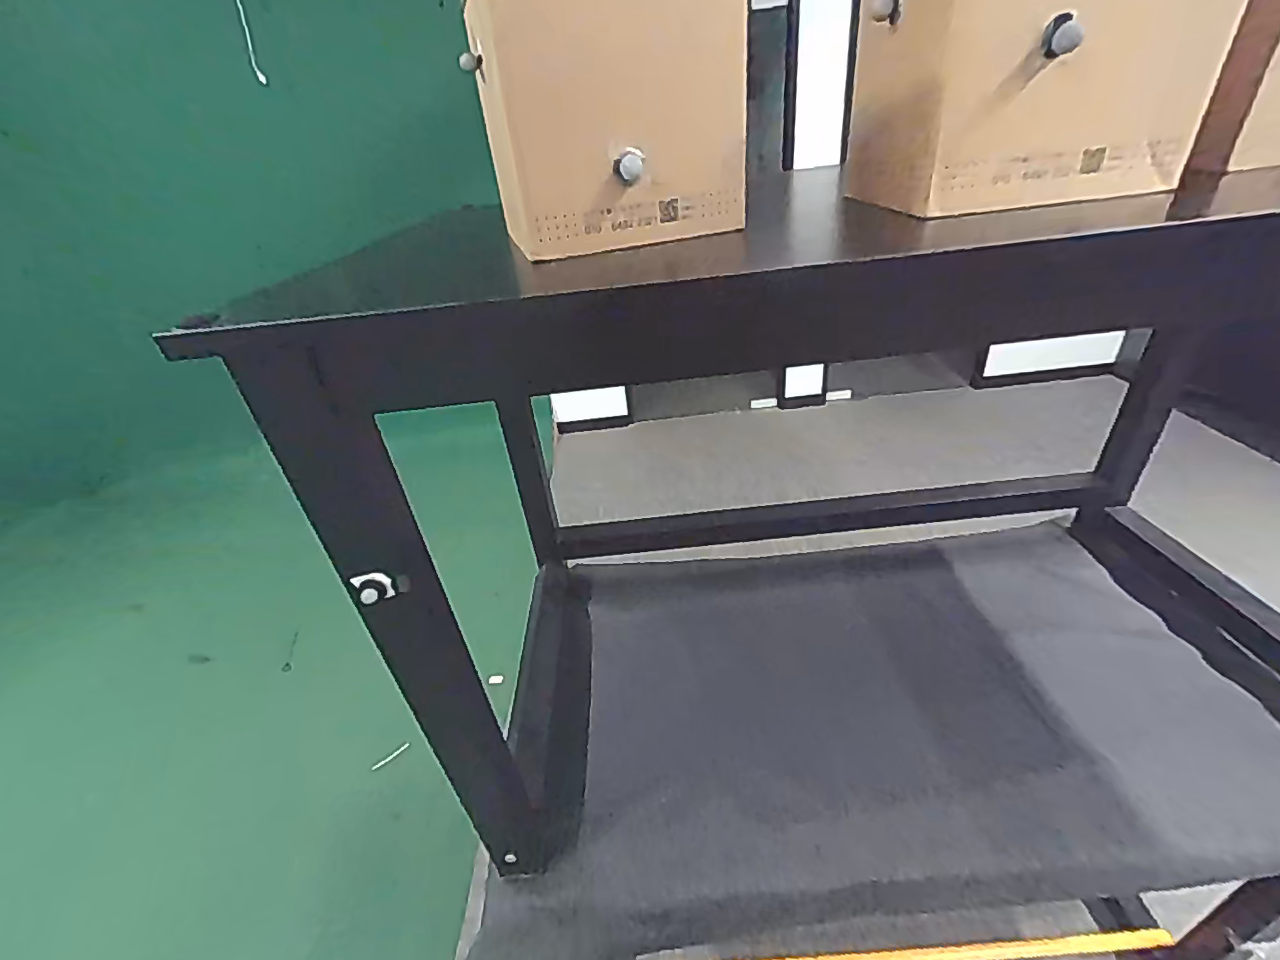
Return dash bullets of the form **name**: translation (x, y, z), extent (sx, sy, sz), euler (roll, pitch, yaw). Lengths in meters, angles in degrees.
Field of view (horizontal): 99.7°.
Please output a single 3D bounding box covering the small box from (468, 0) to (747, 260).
- **small box**: translation (-0.031, -0.278, 0.421), extent (0.168, 0.176, 0.179), euler (-14, 34, -11)
